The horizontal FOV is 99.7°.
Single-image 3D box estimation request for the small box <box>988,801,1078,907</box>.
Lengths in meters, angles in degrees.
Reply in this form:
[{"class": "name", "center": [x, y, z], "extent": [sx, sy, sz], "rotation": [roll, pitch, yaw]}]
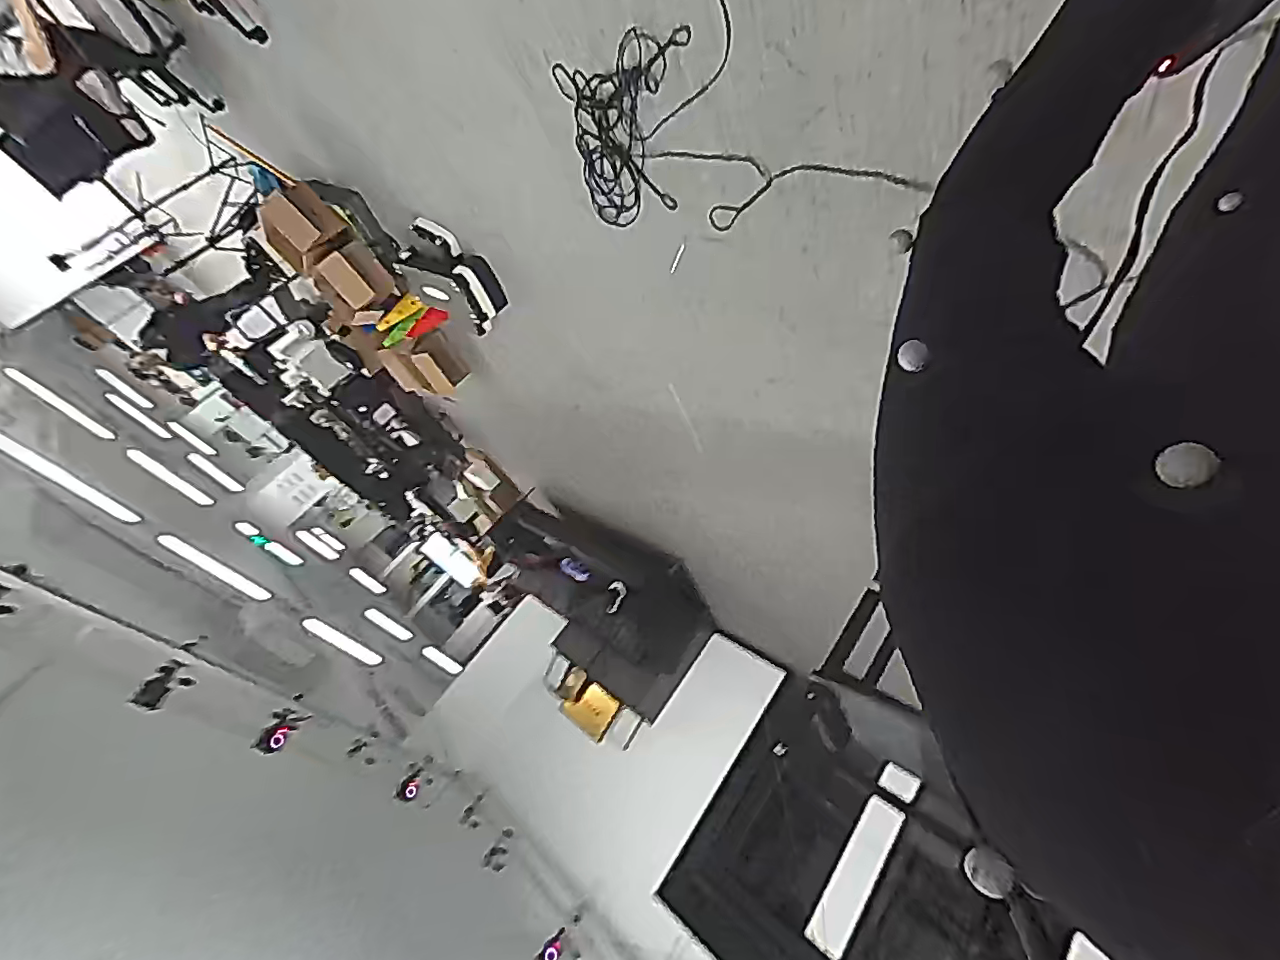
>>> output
[{"class": "small box", "center": [1.108, 1.052, 1.528], "extent": [0.168, 0.176, 0.179], "rotation": [19, 151, 42]}]
